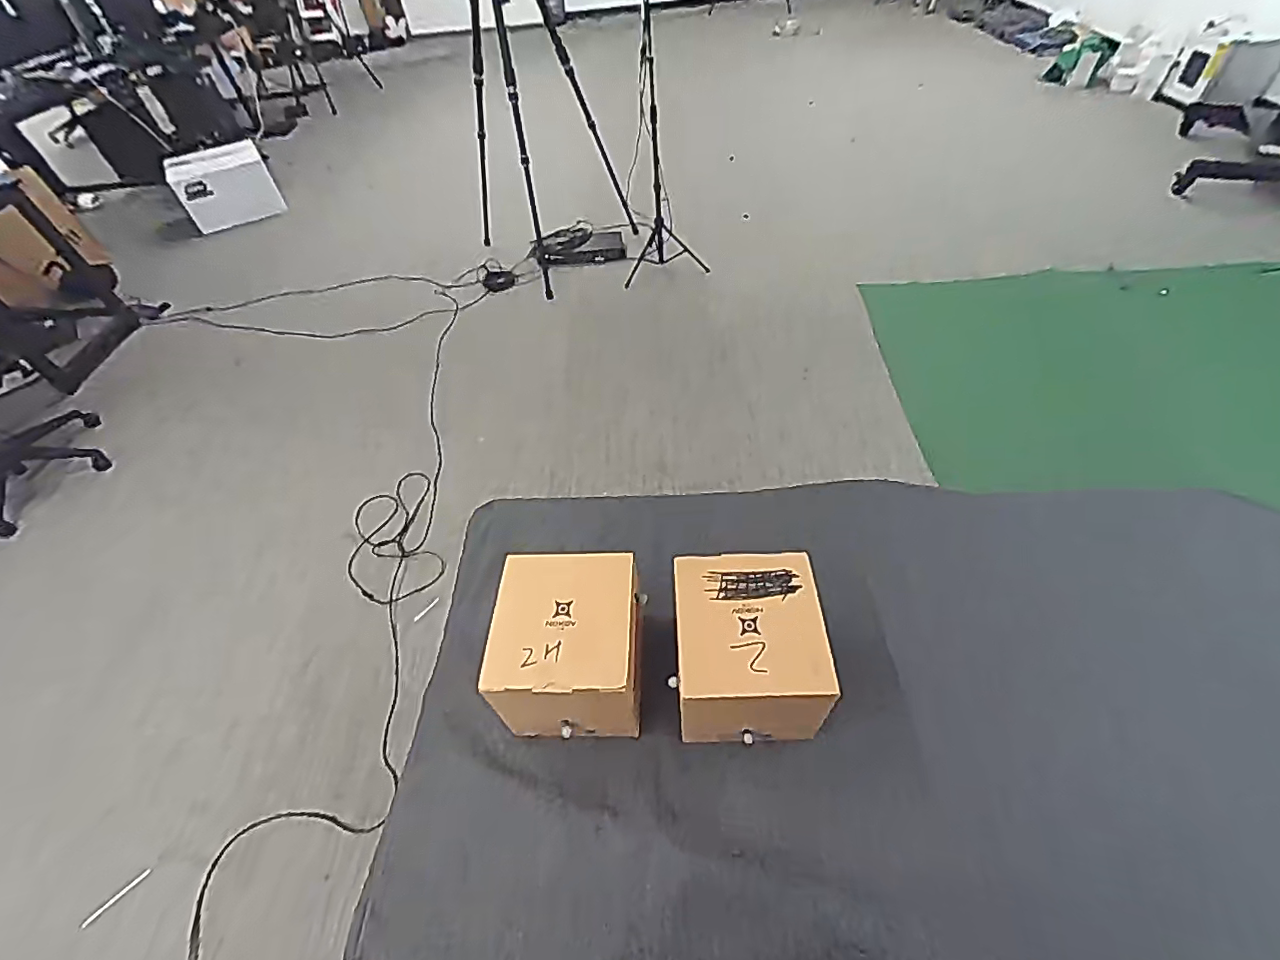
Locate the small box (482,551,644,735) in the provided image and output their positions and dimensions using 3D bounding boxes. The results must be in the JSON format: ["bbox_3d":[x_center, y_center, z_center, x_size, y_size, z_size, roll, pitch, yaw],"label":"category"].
[{"bbox_3d":[-0.084,0.210,0.698,0.168,0.176,0.179,-2,49,5],"label":"small box"}]
